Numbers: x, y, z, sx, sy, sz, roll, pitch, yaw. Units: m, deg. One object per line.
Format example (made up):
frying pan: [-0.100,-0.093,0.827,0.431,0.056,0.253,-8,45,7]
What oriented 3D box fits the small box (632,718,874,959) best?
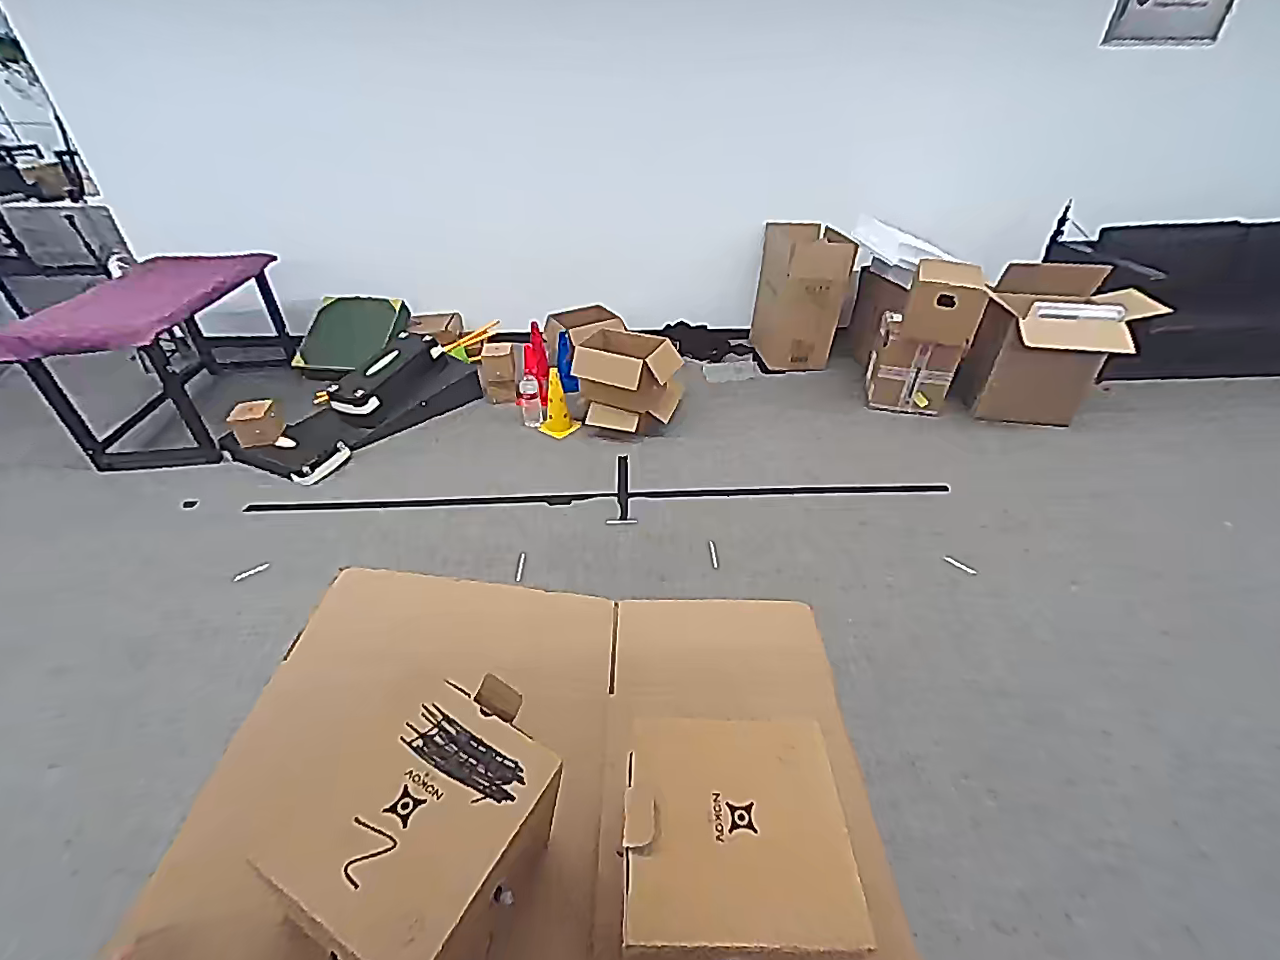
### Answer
small box: [0.083,0.341,0.496,0.179,0.176,0.168,0,38,1]
